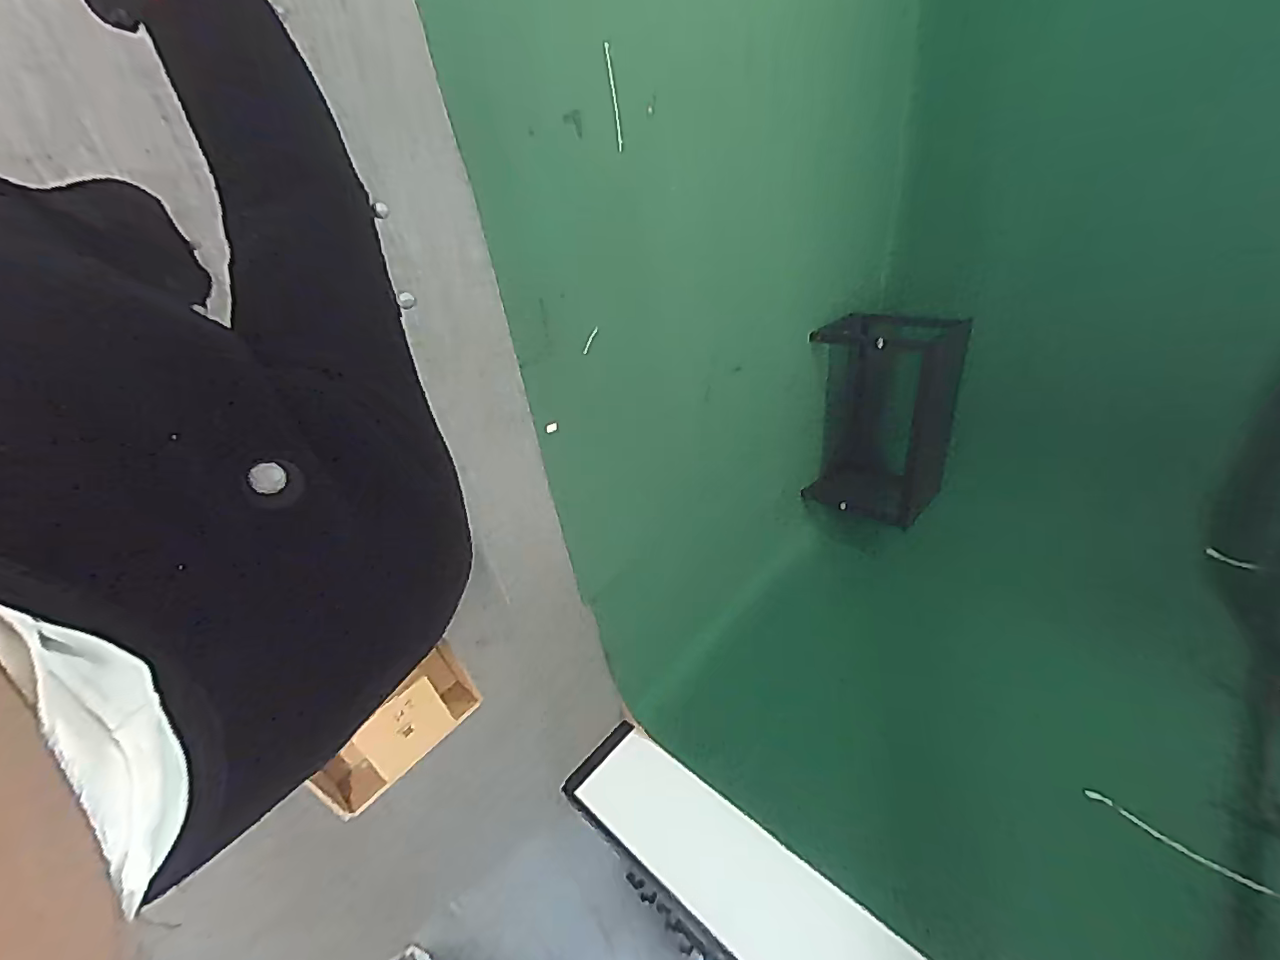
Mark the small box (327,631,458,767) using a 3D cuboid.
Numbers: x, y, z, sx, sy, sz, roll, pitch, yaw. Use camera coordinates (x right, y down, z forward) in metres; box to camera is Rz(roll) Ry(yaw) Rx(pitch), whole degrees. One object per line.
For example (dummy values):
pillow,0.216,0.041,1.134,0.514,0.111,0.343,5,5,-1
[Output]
small box,-0.528,0.460,1.157,0.168,0.176,0.179,-38,133,-32
